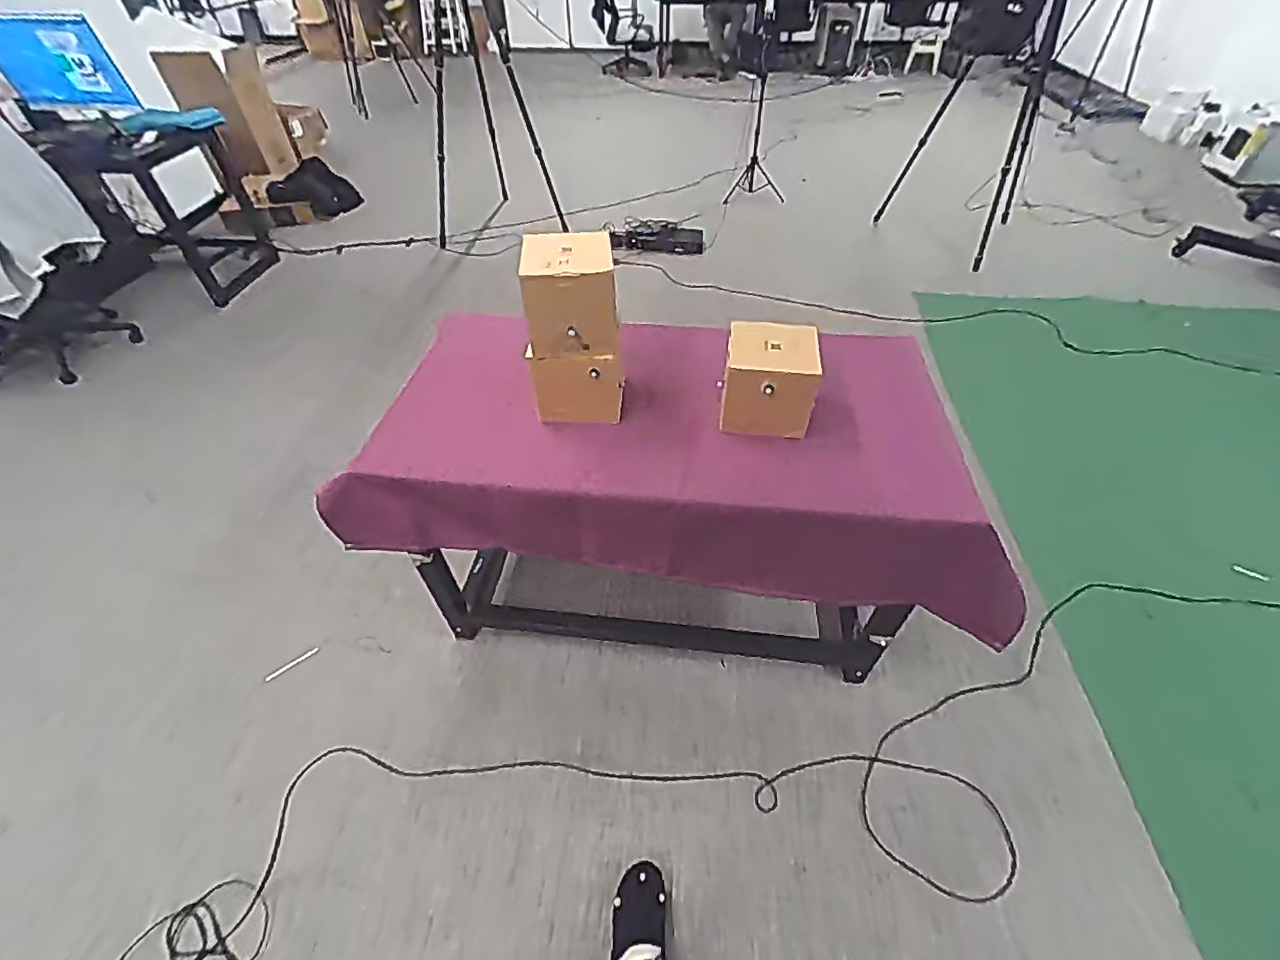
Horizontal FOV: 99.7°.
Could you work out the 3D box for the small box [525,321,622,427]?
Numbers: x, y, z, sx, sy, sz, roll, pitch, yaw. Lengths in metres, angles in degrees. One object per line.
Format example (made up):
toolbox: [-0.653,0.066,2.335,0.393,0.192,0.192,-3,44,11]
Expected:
small box: [-0.133,-0.227,1.159,0.179,0.176,0.168,2,46,2]

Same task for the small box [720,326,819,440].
small box: [0.261,-0.199,1.119,0.179,0.176,0.168,6,48,7]

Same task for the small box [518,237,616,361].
small box: [-0.135,-0.349,1.047,0.168,0.176,0.179,-5,47,-3]
